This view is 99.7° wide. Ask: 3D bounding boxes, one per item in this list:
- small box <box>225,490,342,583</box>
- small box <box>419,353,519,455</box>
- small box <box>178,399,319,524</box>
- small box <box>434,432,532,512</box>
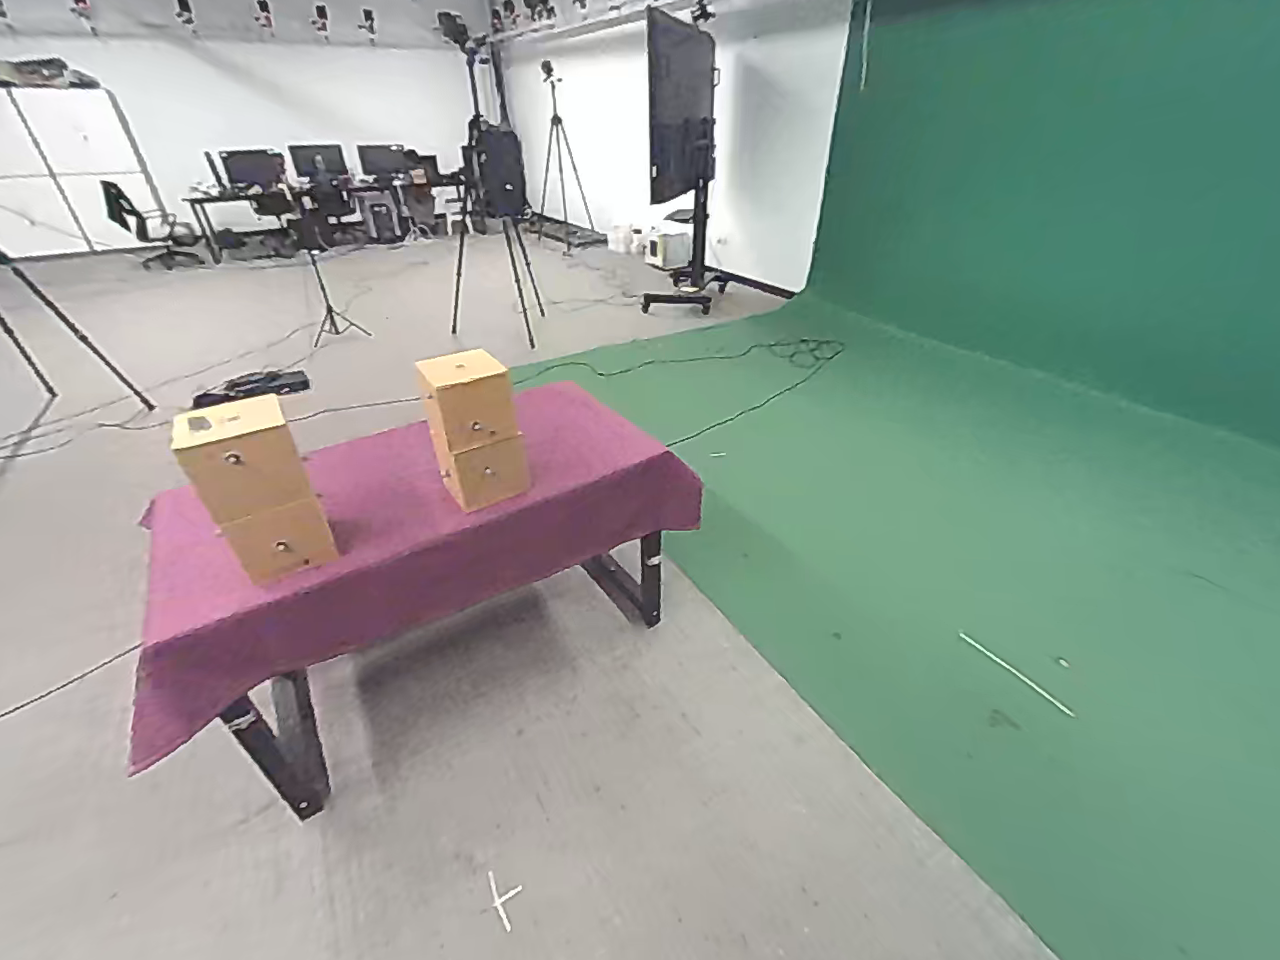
[{"bbox_3d":[-0.766,0.098,1.165,0.168,0.176,0.179,-21,38,-28],"label":"small box"},{"bbox_3d":[-0.401,-0.181,1.277,0.168,0.176,0.179,-21,39,-27],"label":"small box"},{"bbox_3d":[-0.770,-0.038,1.073,0.179,0.176,0.168,-21,39,-28],"label":"small box"},{"bbox_3d":[-0.391,-0.043,1.364,0.179,0.176,0.168,-23,40,-27],"label":"small box"}]
